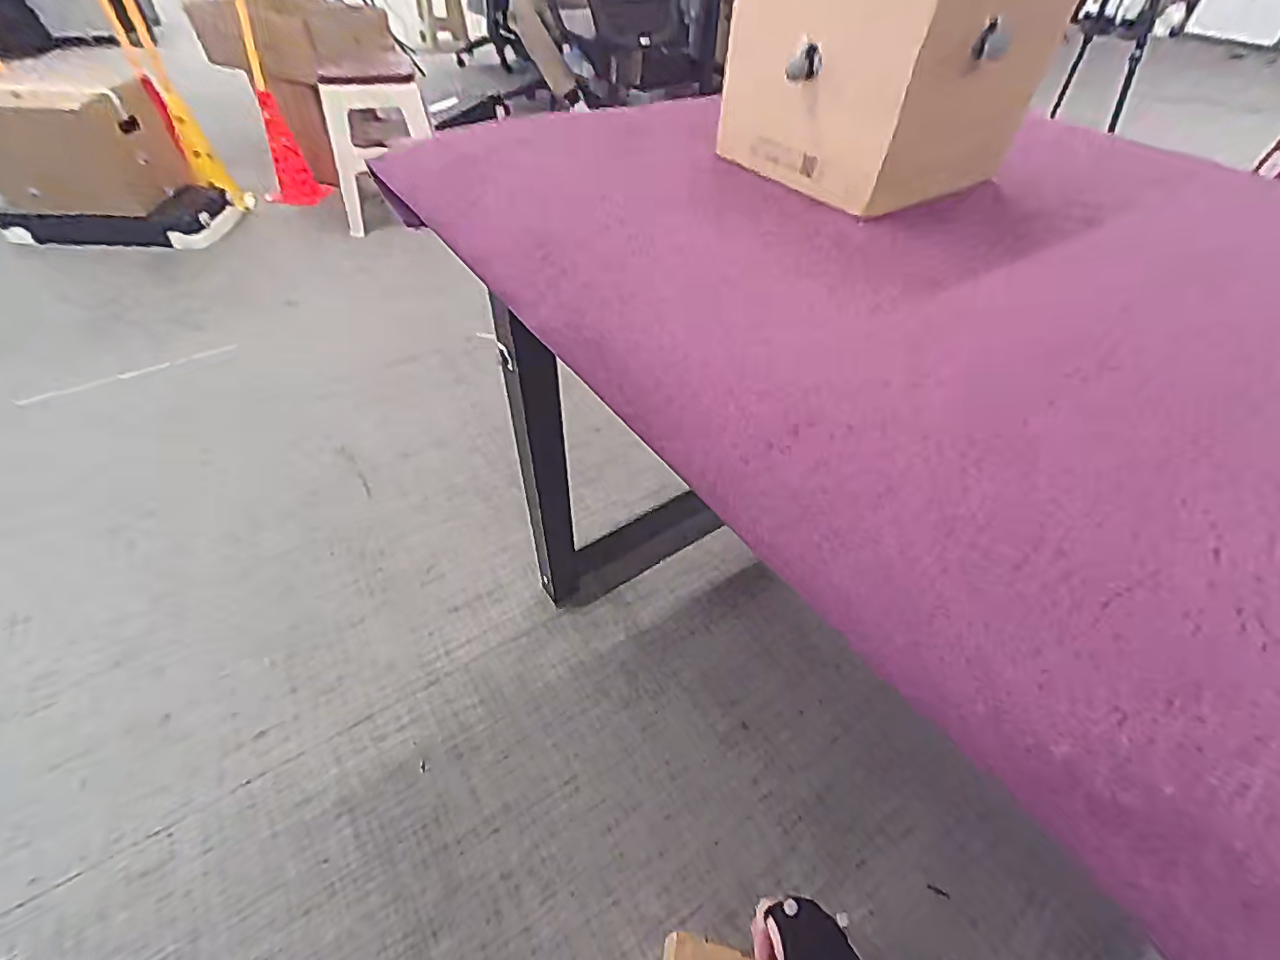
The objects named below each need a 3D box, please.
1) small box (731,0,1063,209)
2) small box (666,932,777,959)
[{"bbox_3d":[0.185,-0.325,0.406,0.179,0.176,0.168,-27,54,-24],"label":"small box"},{"bbox_3d":[0.098,0.589,0.539,0.168,0.176,0.179,10,48,8],"label":"small box"}]
